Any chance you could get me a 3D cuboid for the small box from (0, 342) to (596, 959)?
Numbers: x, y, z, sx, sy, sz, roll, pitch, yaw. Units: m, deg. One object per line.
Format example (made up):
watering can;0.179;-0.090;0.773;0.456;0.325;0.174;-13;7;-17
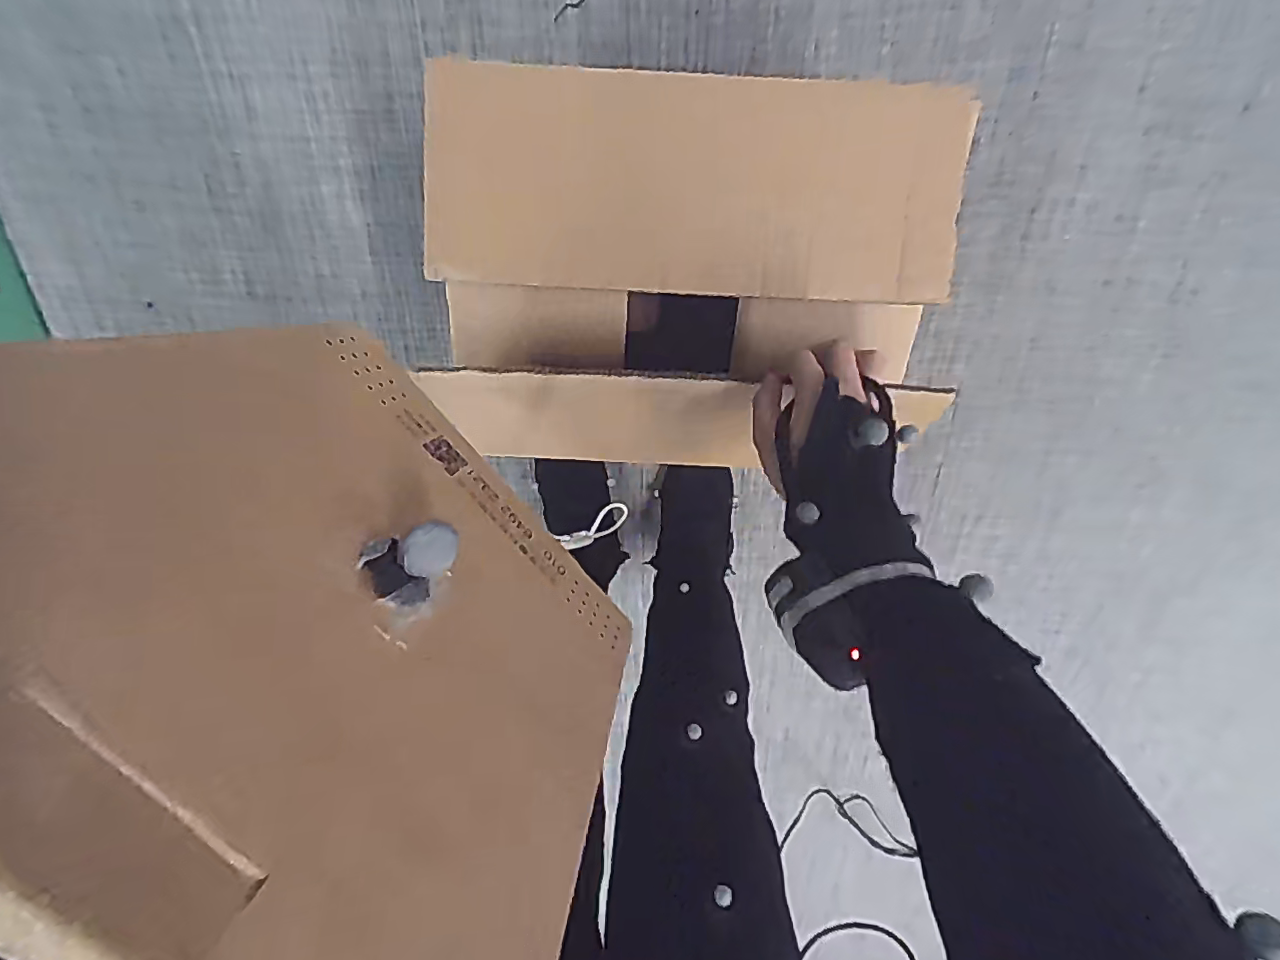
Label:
small box;-0.129;0.076;0.163;0.179;0.176;0.168;-38;100;16
